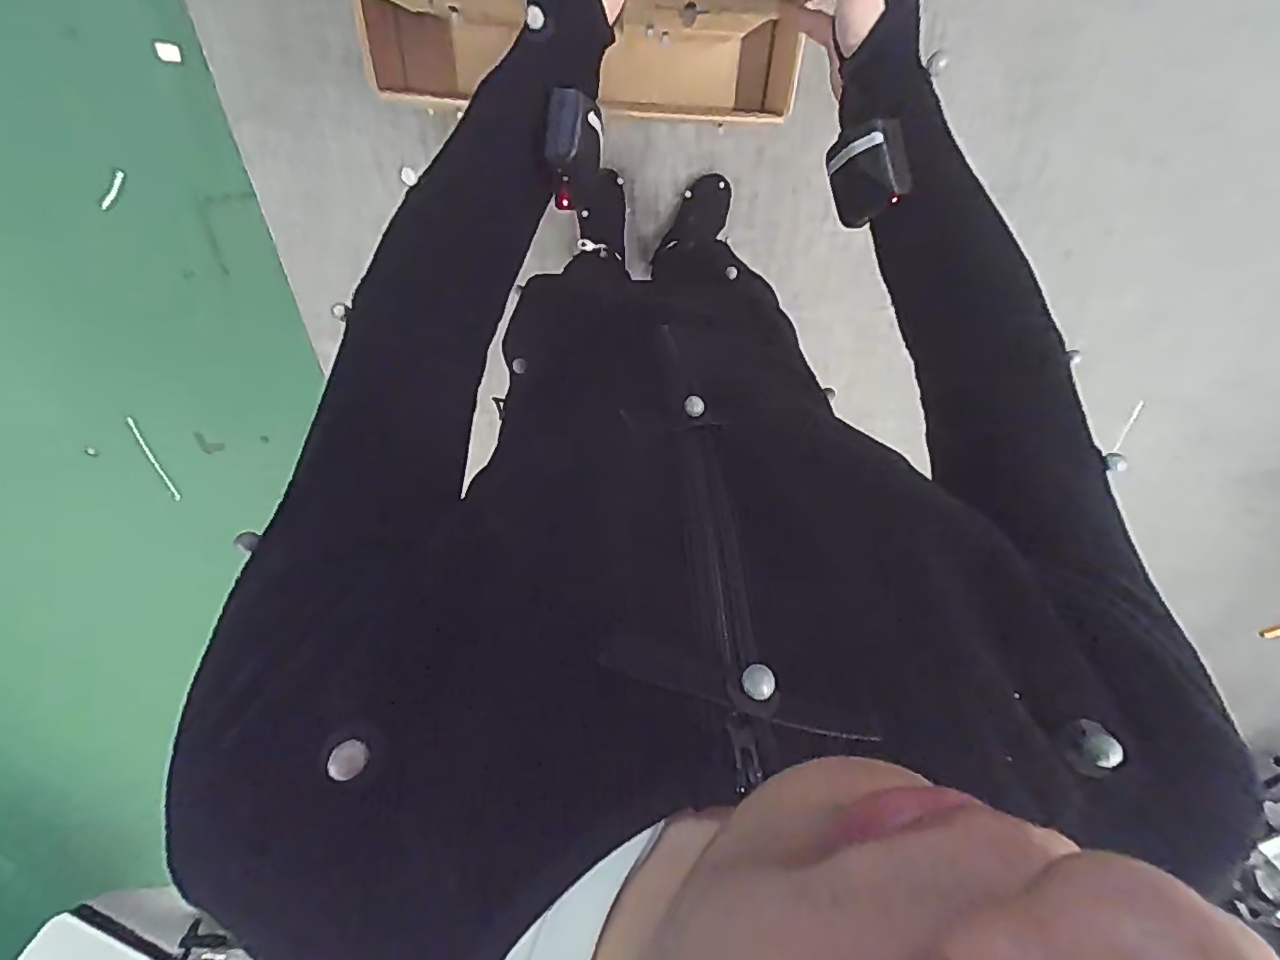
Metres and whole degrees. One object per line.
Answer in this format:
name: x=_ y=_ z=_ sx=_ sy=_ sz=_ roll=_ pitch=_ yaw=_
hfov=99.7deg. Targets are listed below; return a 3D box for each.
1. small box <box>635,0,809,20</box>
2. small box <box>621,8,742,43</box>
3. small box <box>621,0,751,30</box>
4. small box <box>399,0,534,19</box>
small box: x=0.072 y=-0.521 z=0.458 sx=0.168 sy=0.176 sz=0.179 roll=3 pitch=126 yaw=-3
small box: x=0.063 y=-0.718 z=0.738 sx=0.168 sy=0.176 sz=0.179 roll=2 pitch=124 yaw=-2
small box: x=0.066 y=-0.625 z=0.603 sx=0.168 sy=0.176 sz=0.179 roll=2 pitch=124 yaw=-3
small box: x=-0.210 y=-0.631 z=0.592 sx=0.168 sy=0.176 sz=0.179 roll=2 pitch=125 yaw=-4
